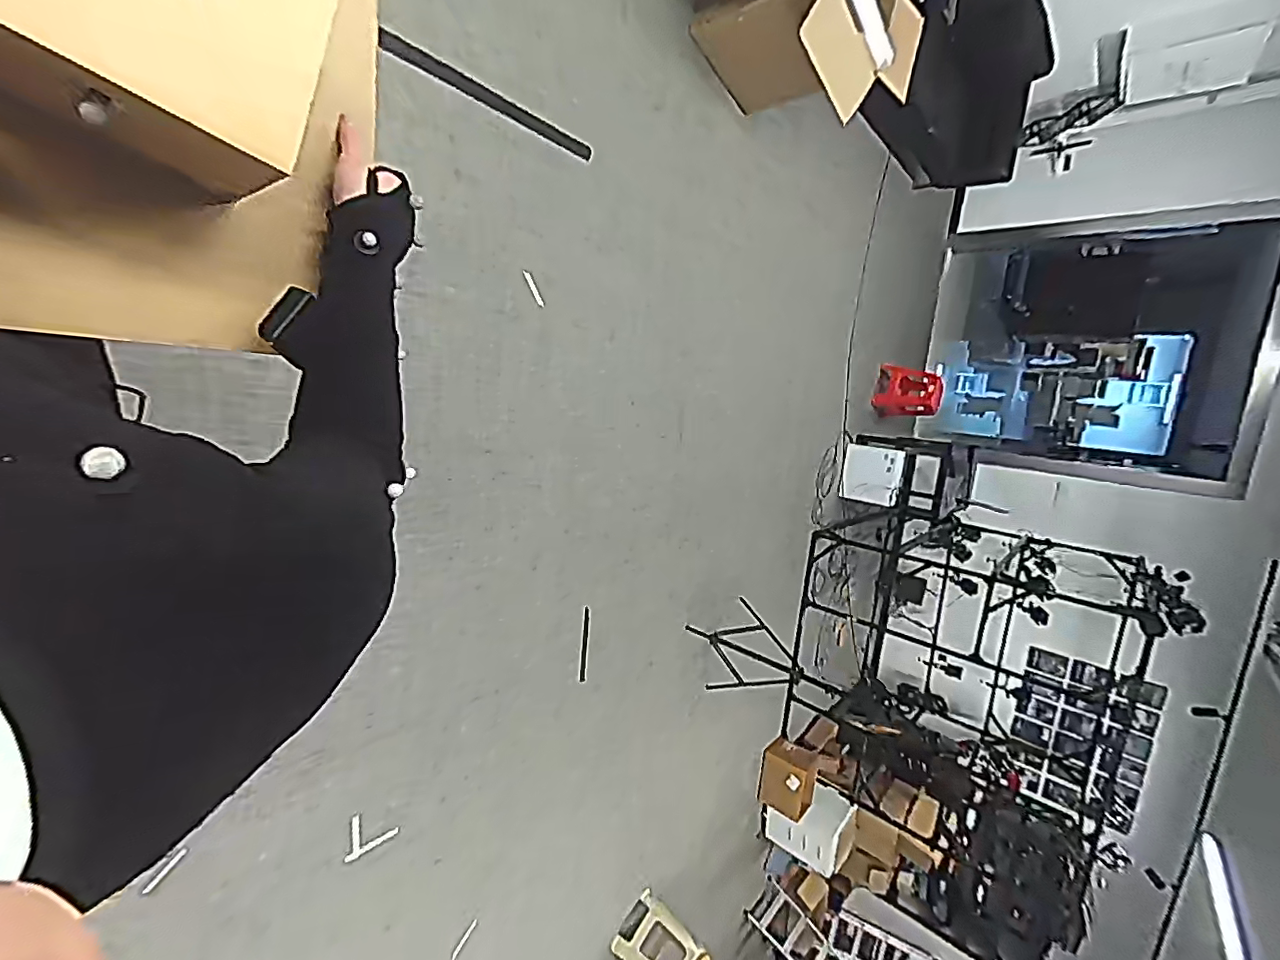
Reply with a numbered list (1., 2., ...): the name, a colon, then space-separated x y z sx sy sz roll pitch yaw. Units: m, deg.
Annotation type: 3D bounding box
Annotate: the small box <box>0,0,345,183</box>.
1. small box: -0.335 -0.331 0.373 0.179 0.176 0.168 14 93 -48
